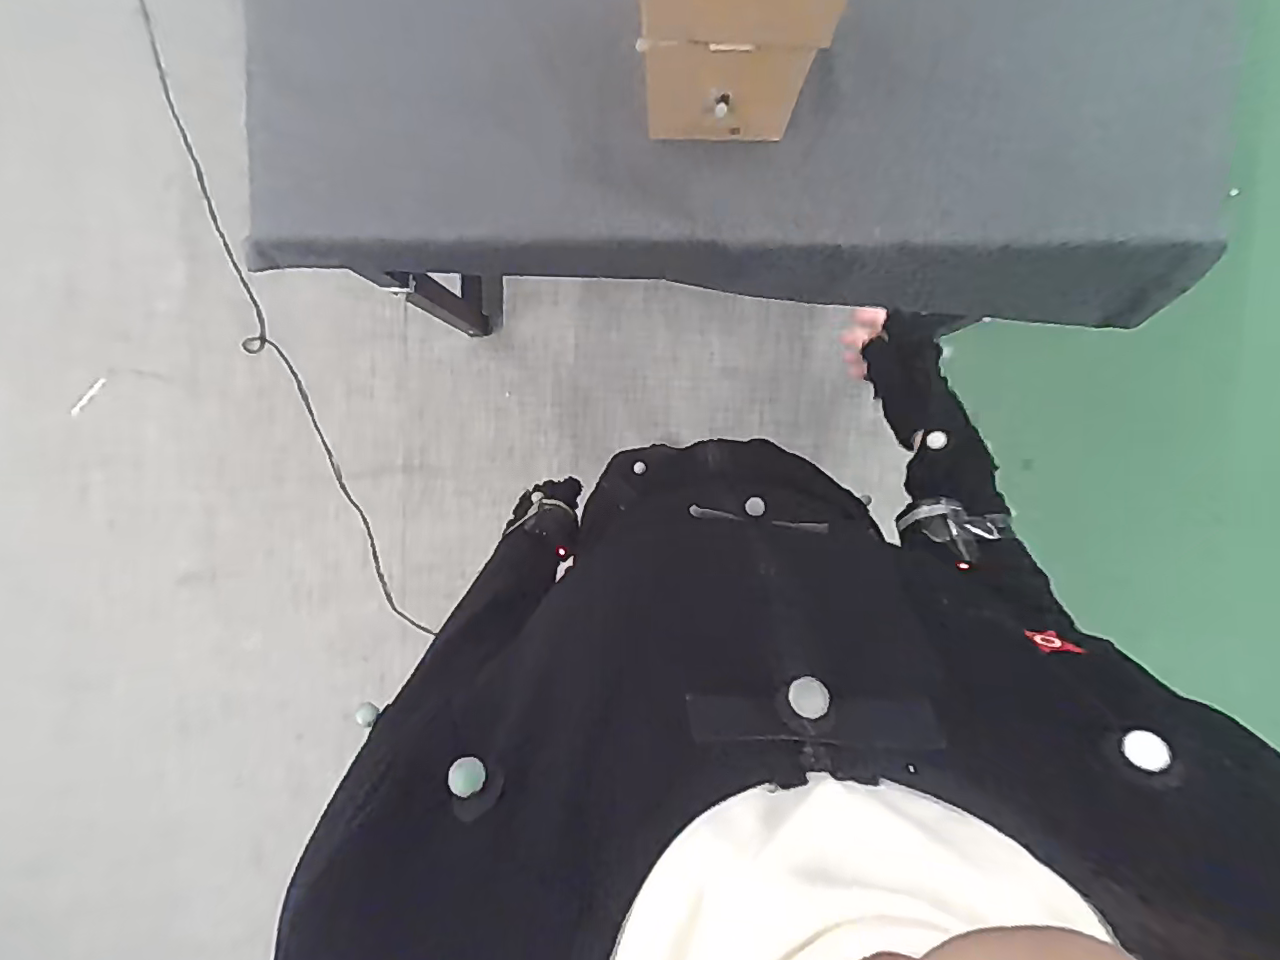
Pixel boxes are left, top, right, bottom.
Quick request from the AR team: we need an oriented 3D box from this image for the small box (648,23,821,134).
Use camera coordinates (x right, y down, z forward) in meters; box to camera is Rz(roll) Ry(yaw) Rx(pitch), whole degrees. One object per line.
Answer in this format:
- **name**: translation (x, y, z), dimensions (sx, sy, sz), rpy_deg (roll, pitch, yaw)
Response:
- **small box**: translation (0.097, -0.504, 0.584), dimensions (0.168, 0.176, 0.179), rpy_deg (1, 94, 3)

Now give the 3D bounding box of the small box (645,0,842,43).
- **small box**: translation (0.094, -0.485, 0.421), dimensions (0.179, 0.176, 0.168), rpy_deg (4, 94, 4)
